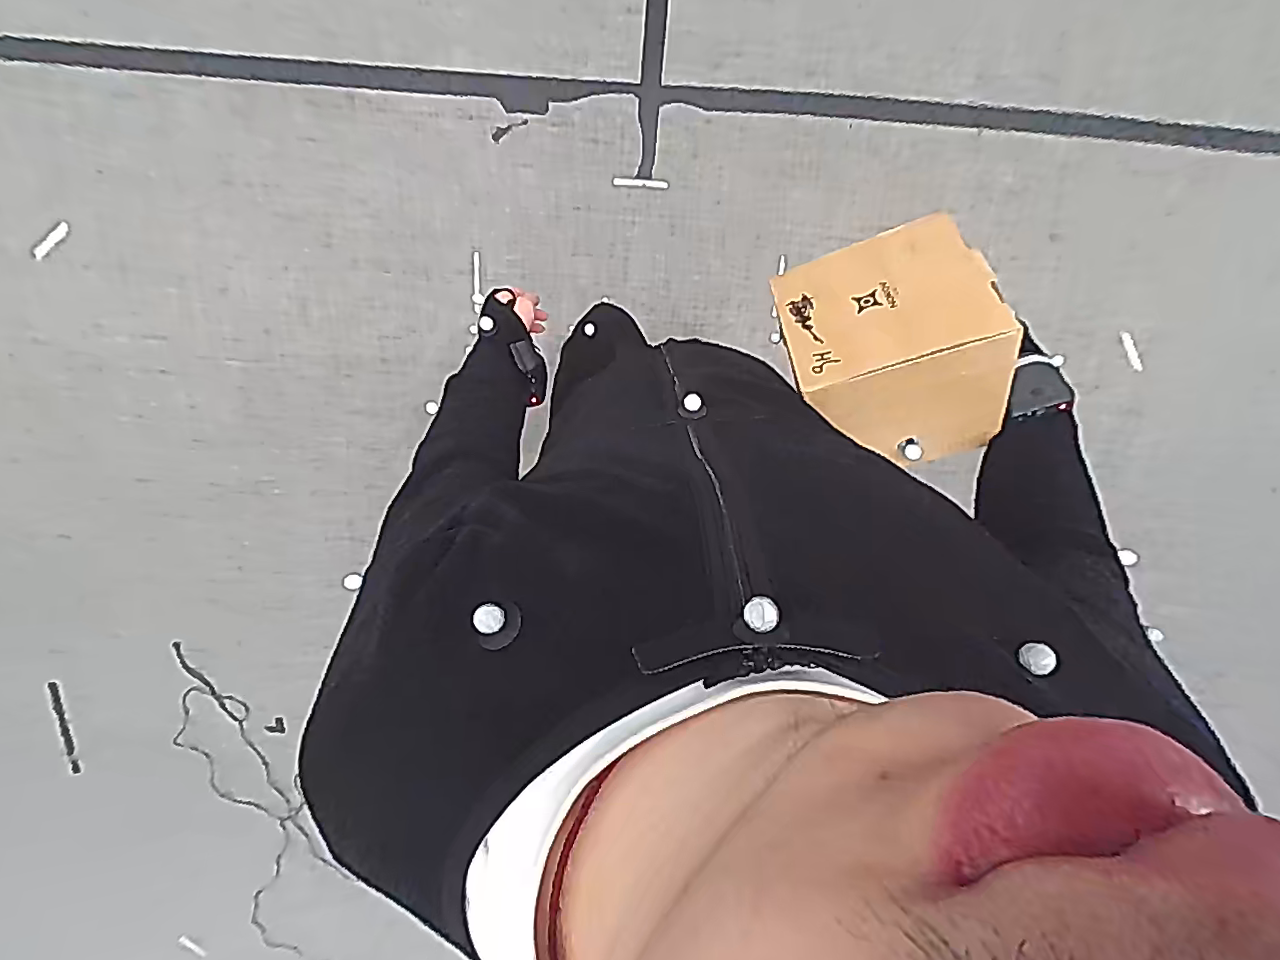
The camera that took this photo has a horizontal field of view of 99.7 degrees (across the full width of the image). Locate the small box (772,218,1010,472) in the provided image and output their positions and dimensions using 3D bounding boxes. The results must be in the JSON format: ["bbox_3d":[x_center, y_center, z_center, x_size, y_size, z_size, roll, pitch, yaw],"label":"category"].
[{"bbox_3d":[0.255,-0.133,0.579,0.179,0.168,0.176,-16,144,17],"label":"small box"}]
